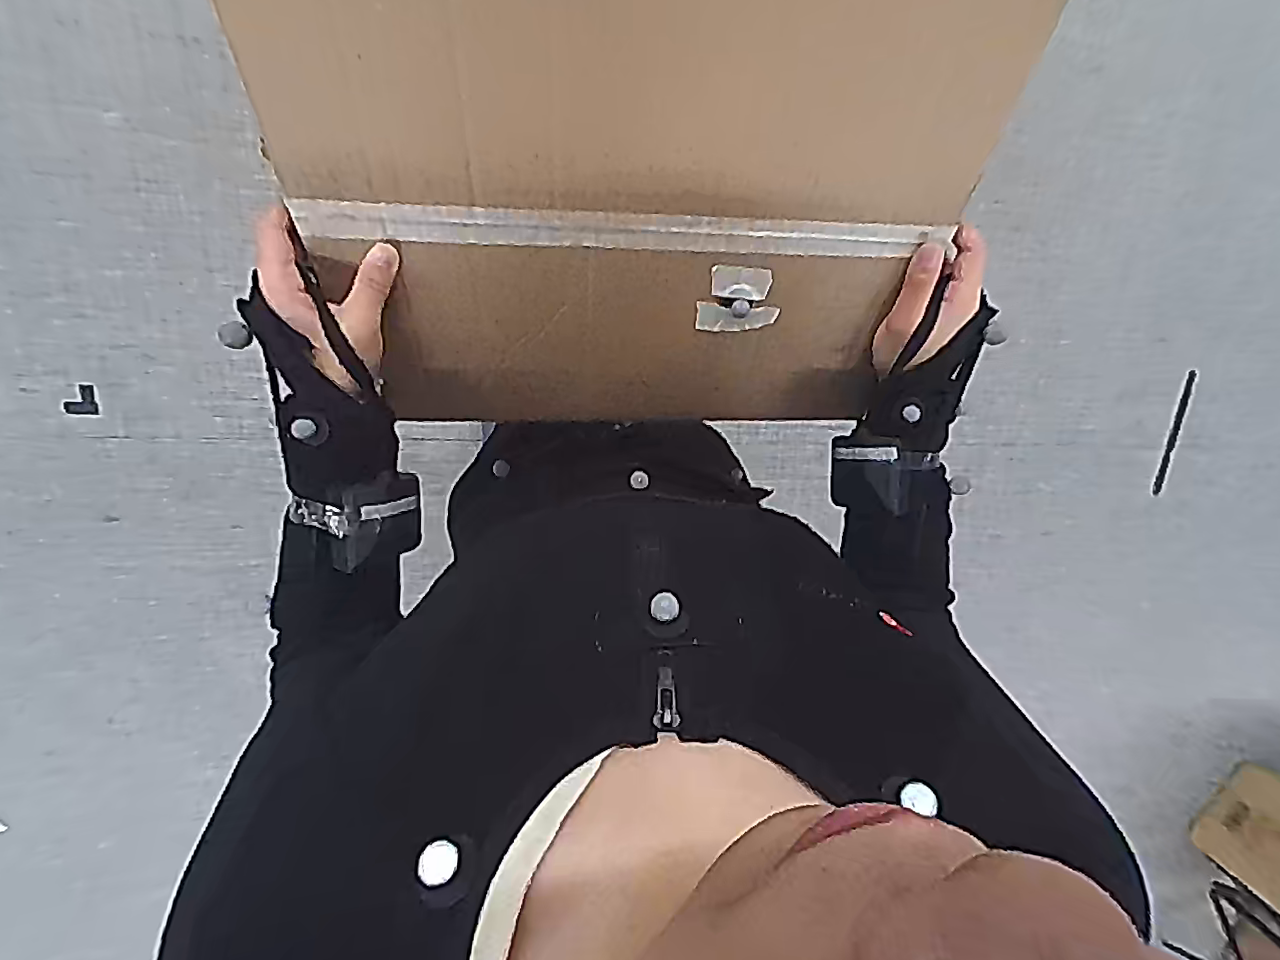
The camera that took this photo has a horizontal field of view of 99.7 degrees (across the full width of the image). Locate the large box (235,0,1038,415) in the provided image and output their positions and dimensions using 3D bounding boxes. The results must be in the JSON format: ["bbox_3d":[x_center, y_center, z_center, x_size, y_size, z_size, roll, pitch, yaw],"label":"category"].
[{"bbox_3d":[-0.015,-0.273,0.441,0.408,0.320,0.320,-2,139,-8],"label":"large box"}]
